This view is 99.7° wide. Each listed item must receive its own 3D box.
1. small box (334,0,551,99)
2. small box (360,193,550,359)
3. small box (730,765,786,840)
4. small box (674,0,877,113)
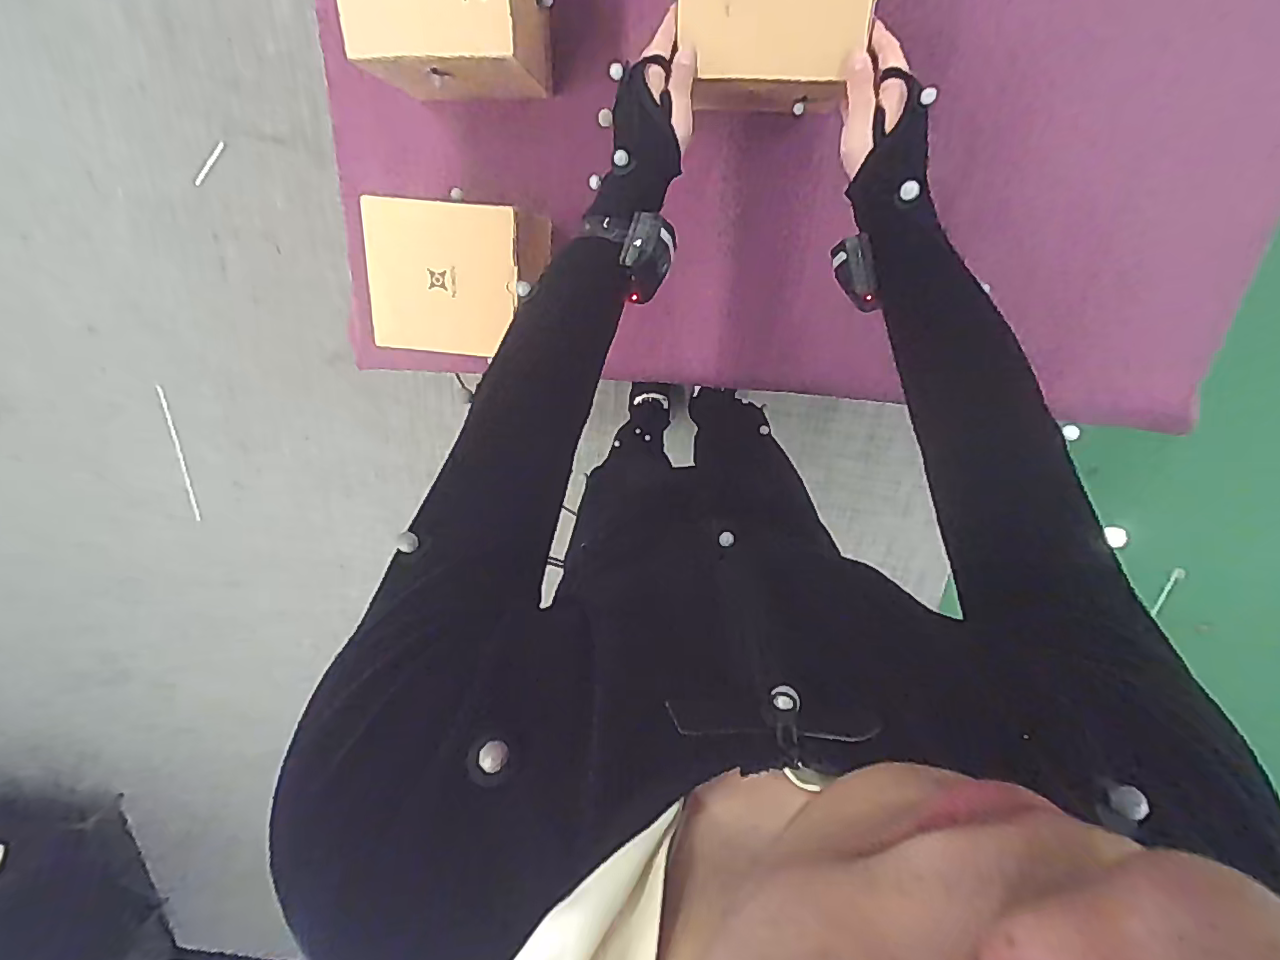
[{"bbox_3d":[-0.202,-0.522,0.574,0.179,0.176,0.168,2,114,3],"label":"small box"},{"bbox_3d":[-0.221,-0.256,0.688,0.179,0.176,0.168,6,112,2],"label":"small box"},{"bbox_3d":[0.437,1.208,2.034,0.168,0.176,0.179,8,114,2],"label":"small box"},{"bbox_3d":[0.130,-0.480,0.539,0.179,0.176,0.168,5,116,5],"label":"small box"}]
